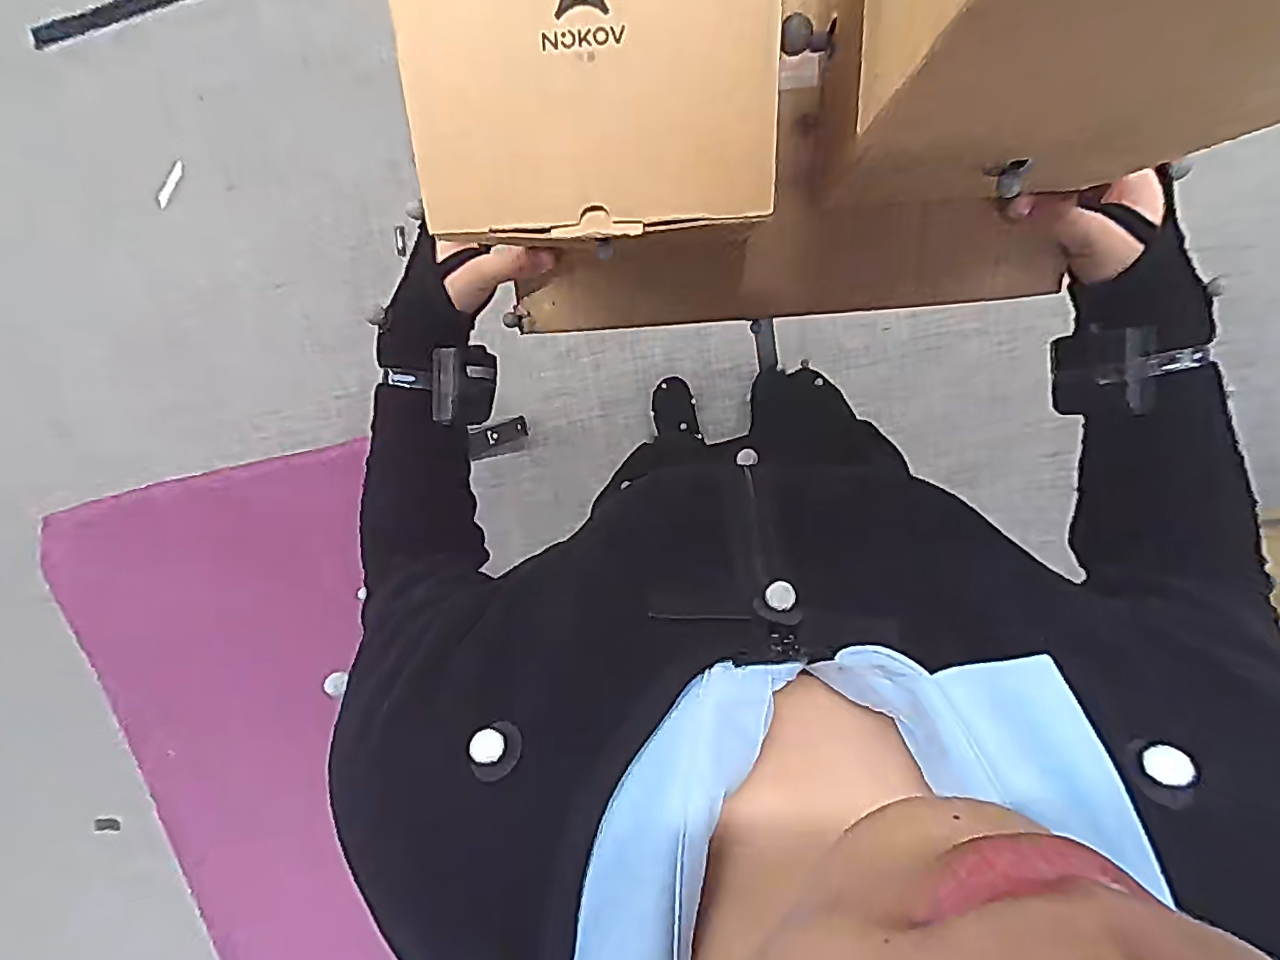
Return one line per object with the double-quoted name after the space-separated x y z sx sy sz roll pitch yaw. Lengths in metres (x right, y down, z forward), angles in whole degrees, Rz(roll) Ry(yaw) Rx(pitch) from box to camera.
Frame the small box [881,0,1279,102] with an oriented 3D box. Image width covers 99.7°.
0.164 -0.204 0.109 0.179 0.176 0.168 0 107 8 "small box"
